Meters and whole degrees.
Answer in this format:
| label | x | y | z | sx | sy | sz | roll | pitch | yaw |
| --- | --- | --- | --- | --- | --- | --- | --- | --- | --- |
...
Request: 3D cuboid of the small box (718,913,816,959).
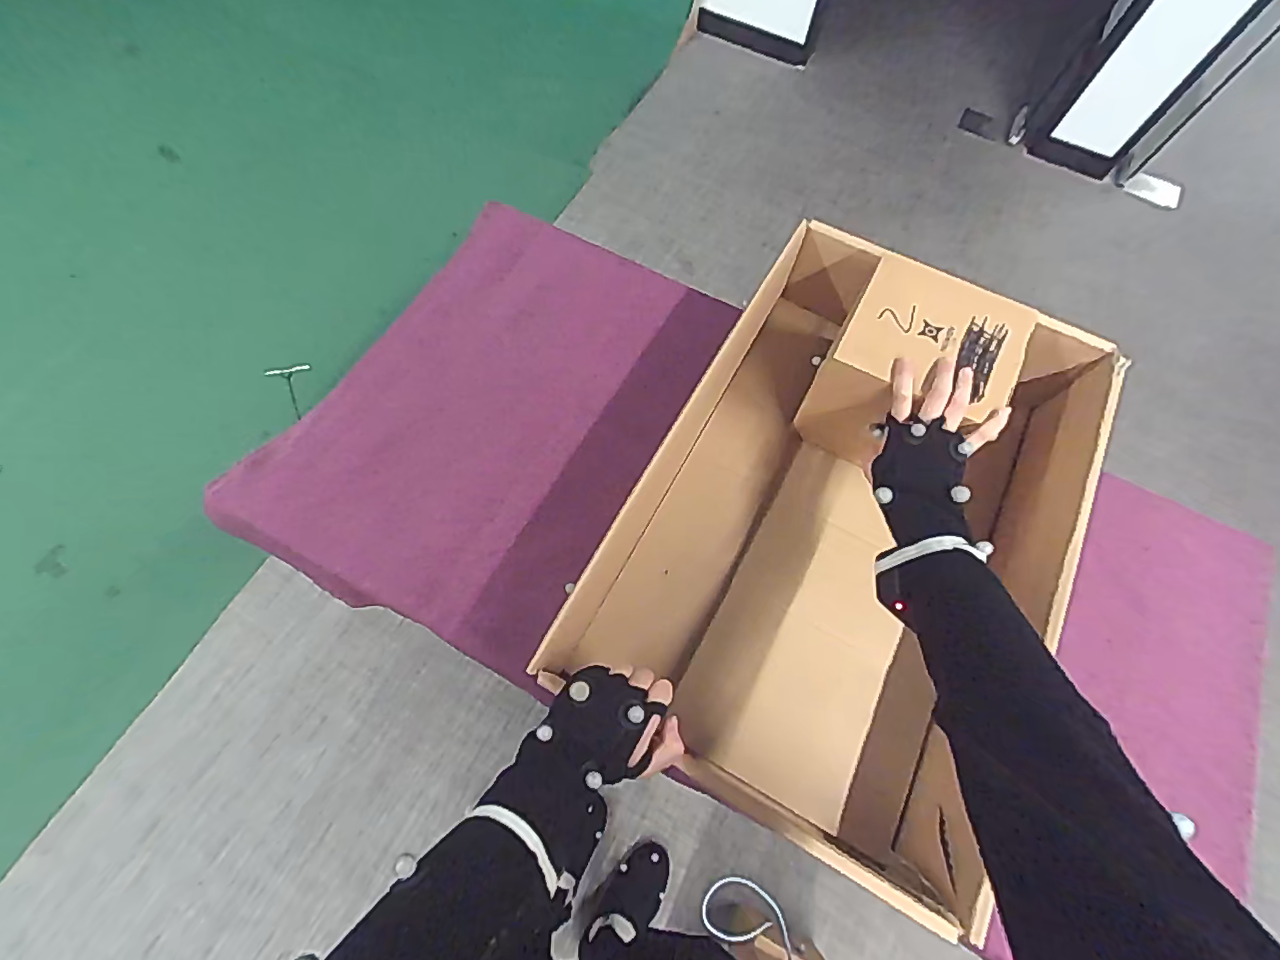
| label | x | y | z | sx | sy | sz | roll | pitch | yaw |
| --- | --- | --- | --- | --- | --- | --- | --- | --- | --- |
| small box | 0.251 | 0.983 | 1.037 | 0.179 | 0.176 | 0.168 | 26 | 69 | 9 |
